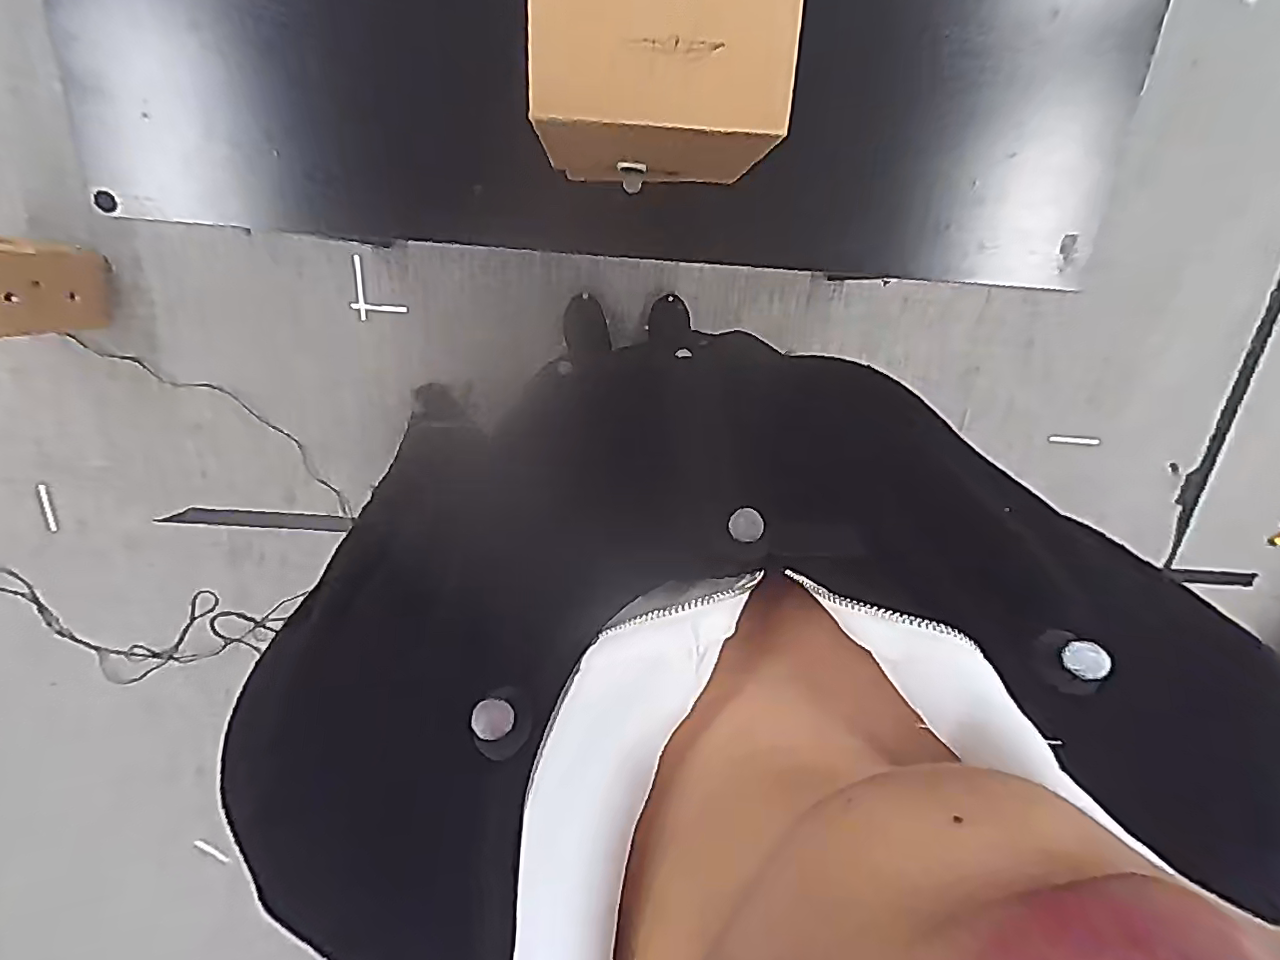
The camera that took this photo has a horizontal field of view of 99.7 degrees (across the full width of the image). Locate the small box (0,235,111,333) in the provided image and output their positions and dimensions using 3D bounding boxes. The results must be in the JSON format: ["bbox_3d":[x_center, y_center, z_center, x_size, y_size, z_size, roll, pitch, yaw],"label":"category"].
[{"bbox_3d":[-1.347,-0.441,1.210,0.168,0.176,0.179,11,109,-7],"label":"small box"}]

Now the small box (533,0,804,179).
[{"bbox_3d":[0.015,-0.336,0.391,0.168,0.176,0.179,2,110,-3],"label":"small box"}]

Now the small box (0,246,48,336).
[{"bbox_3d":[-1.327,-0.380,1.058,0.179,0.176,0.168,8,107,-6],"label":"small box"}]
